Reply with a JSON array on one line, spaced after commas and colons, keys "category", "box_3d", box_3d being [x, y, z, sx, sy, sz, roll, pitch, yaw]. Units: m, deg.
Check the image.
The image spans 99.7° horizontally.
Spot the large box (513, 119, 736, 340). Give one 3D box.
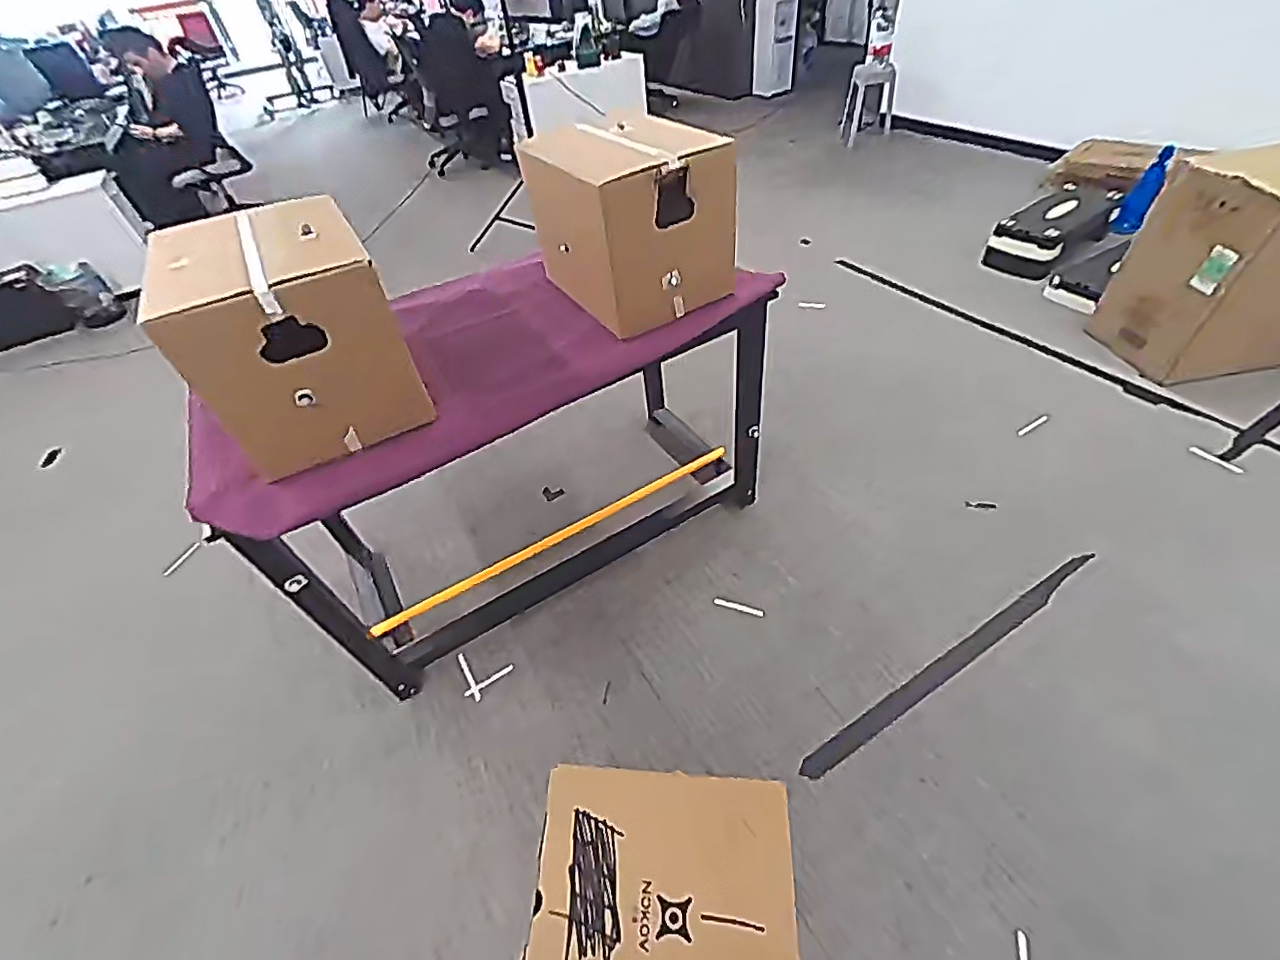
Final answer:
[{"category": "large box", "box_3d": [-0.029, -0.568, 1.207, 0.320, 0.320, 0.408, -27, 47, -18]}]

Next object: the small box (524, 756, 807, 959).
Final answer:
[{"category": "small box", "box_3d": [0.022, 0.323, 0.408, 0.179, 0.176, 0.168, 2, 52, 5]}]
